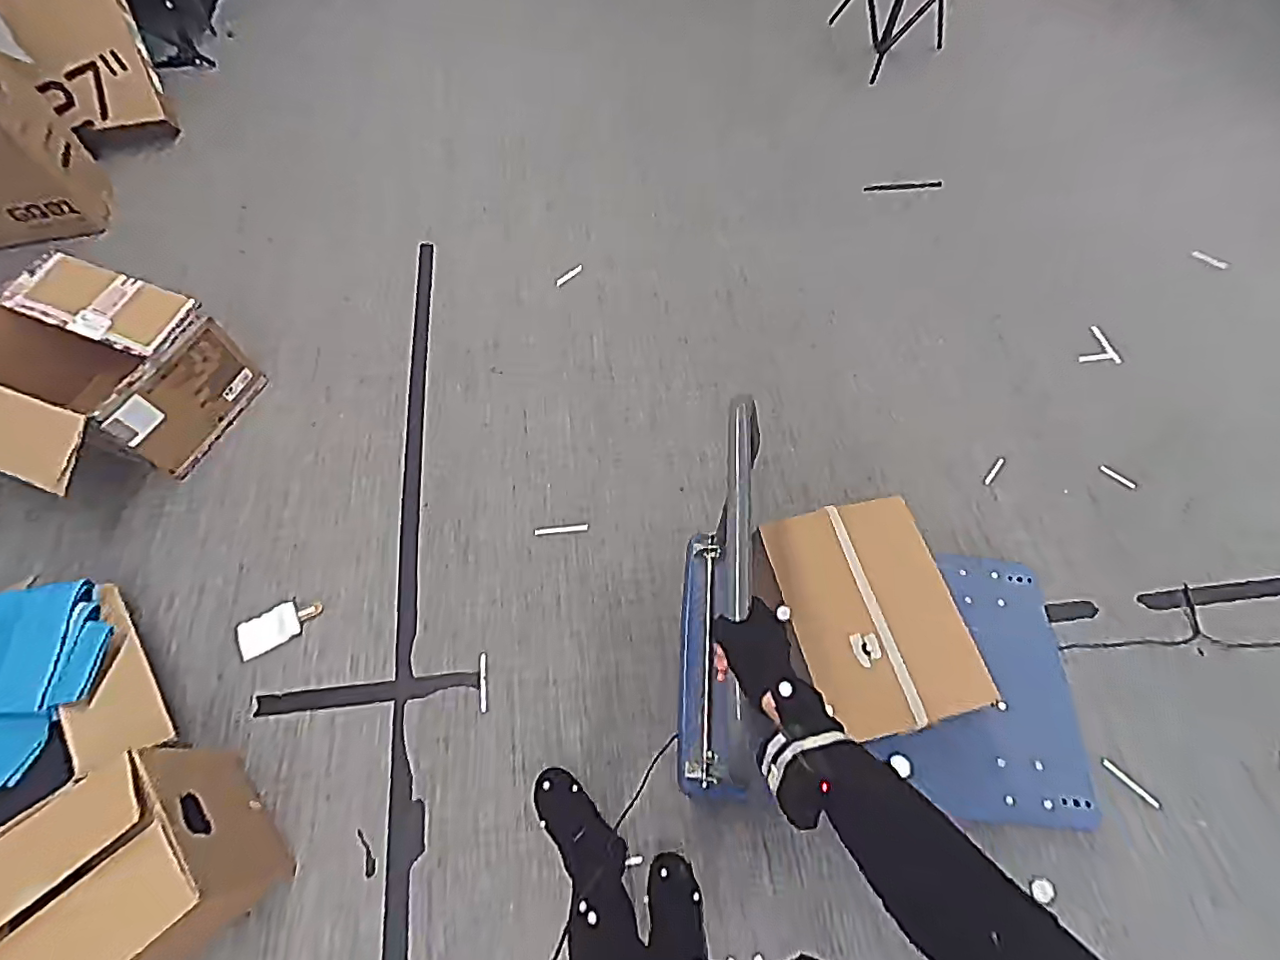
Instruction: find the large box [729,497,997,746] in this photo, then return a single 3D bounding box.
[{"bbox_3d":[0.414,0.299,1.124,0.320,0.320,0.408,-11,64,-8],"label":"large box"}]
